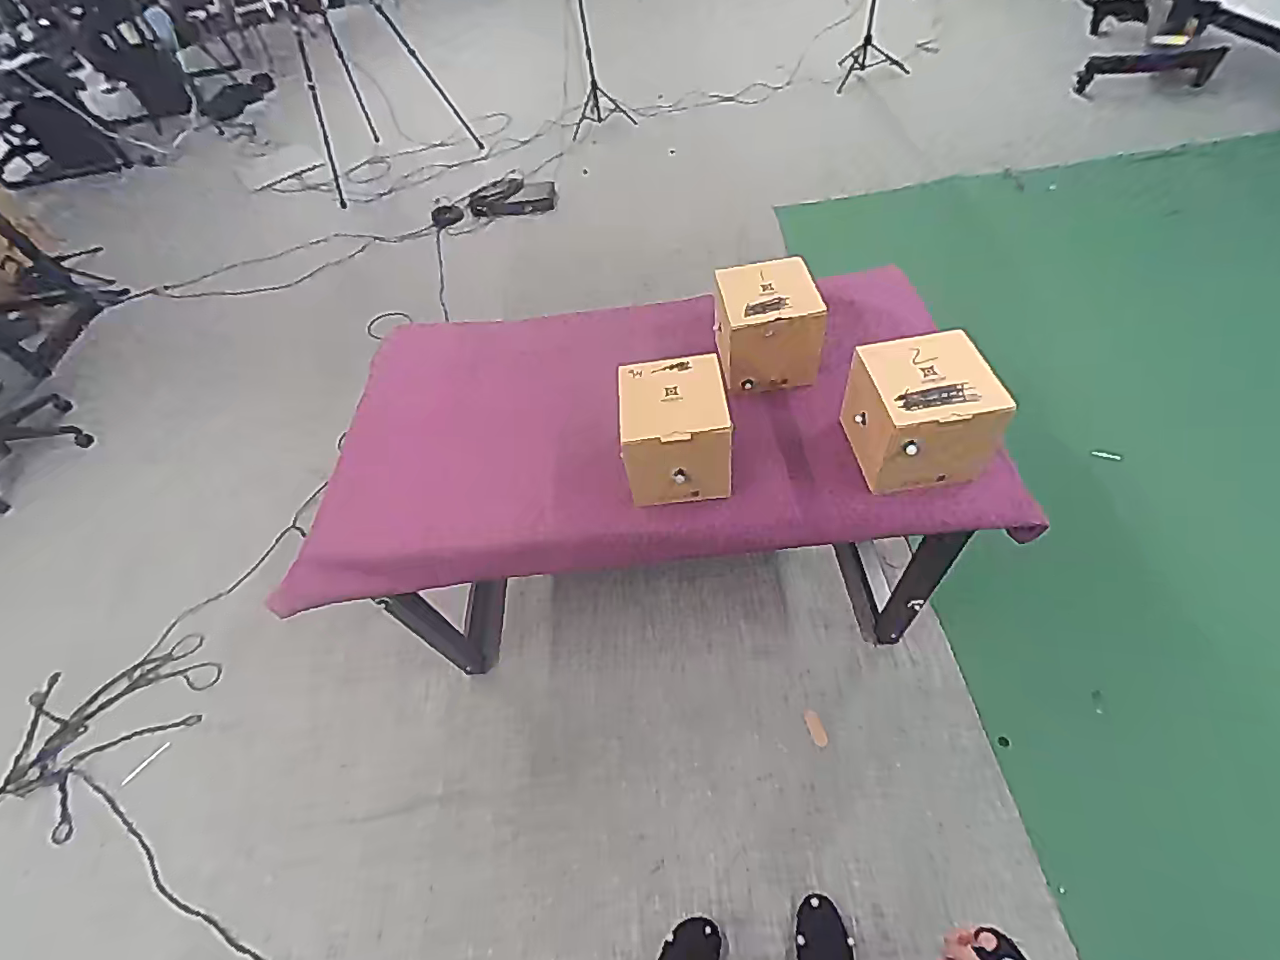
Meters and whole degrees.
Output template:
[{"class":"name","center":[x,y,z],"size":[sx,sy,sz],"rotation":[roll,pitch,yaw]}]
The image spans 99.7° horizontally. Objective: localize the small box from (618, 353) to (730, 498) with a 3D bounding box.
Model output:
[{"class":"small box","center":[0.058,-0.082,0.898],"size":[0.168,0.176,0.179],"rotation":[-6,52,4]}]

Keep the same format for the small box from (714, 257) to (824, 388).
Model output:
[{"class":"small box","center":[0.237,-0.289,1.024],"size":[0.168,0.176,0.179],"rotation":[-8,52,3]}]
